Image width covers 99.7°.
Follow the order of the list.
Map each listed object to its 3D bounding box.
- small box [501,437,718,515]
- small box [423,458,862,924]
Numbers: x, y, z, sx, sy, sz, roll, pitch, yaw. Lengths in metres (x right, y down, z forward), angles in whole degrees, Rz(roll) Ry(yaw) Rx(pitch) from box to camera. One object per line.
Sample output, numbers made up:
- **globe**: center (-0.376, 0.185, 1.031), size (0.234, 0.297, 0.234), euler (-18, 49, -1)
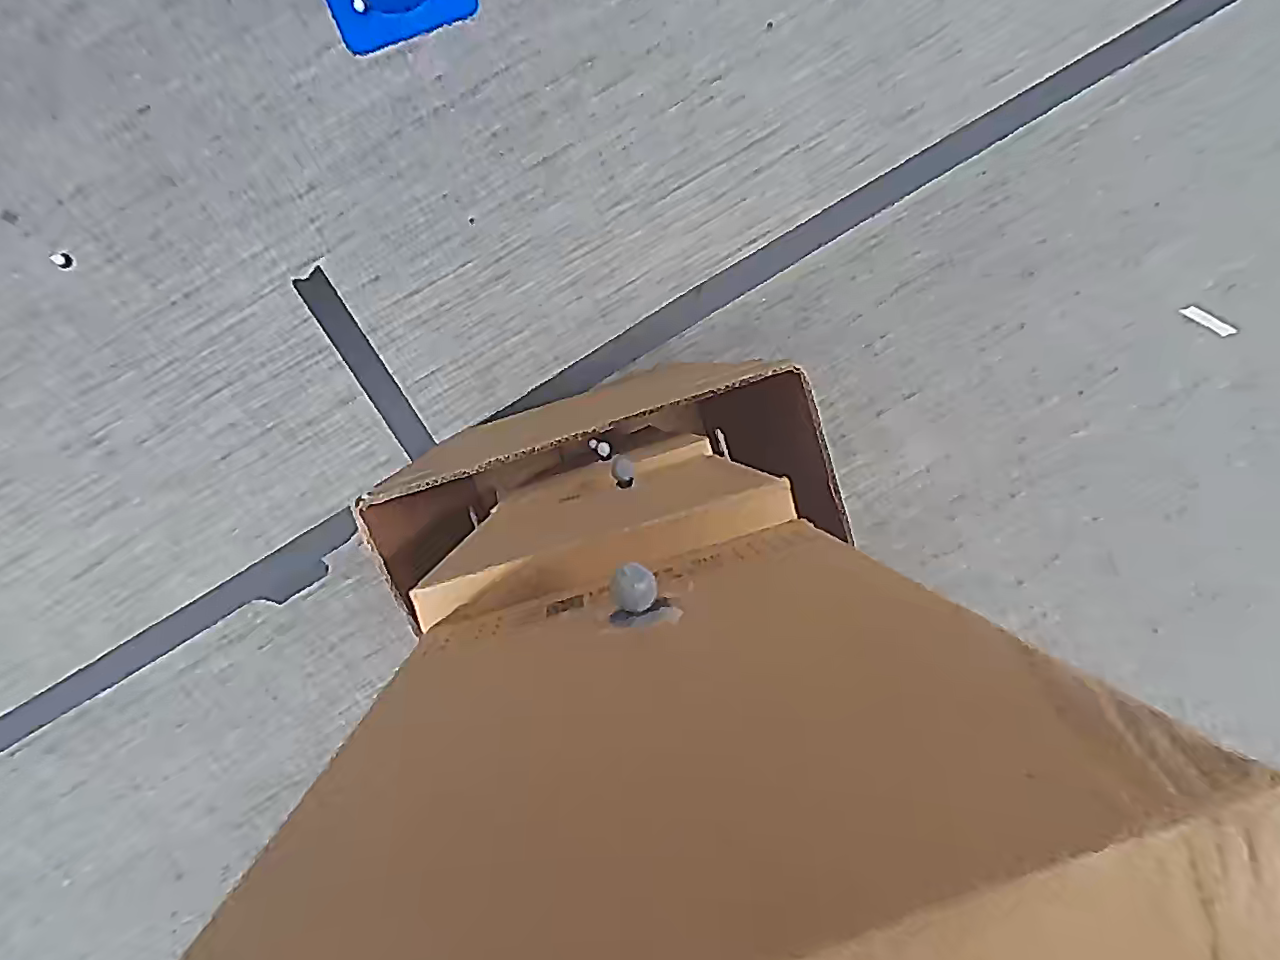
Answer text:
- **small box**: center (-0.008, 0.066, 0.483), size (0.168, 0.176, 0.179), euler (-18, 99, -2)
- **small box**: center (0.002, 0.095, 0.322), size (0.168, 0.176, 0.179), euler (-16, 97, -3)
